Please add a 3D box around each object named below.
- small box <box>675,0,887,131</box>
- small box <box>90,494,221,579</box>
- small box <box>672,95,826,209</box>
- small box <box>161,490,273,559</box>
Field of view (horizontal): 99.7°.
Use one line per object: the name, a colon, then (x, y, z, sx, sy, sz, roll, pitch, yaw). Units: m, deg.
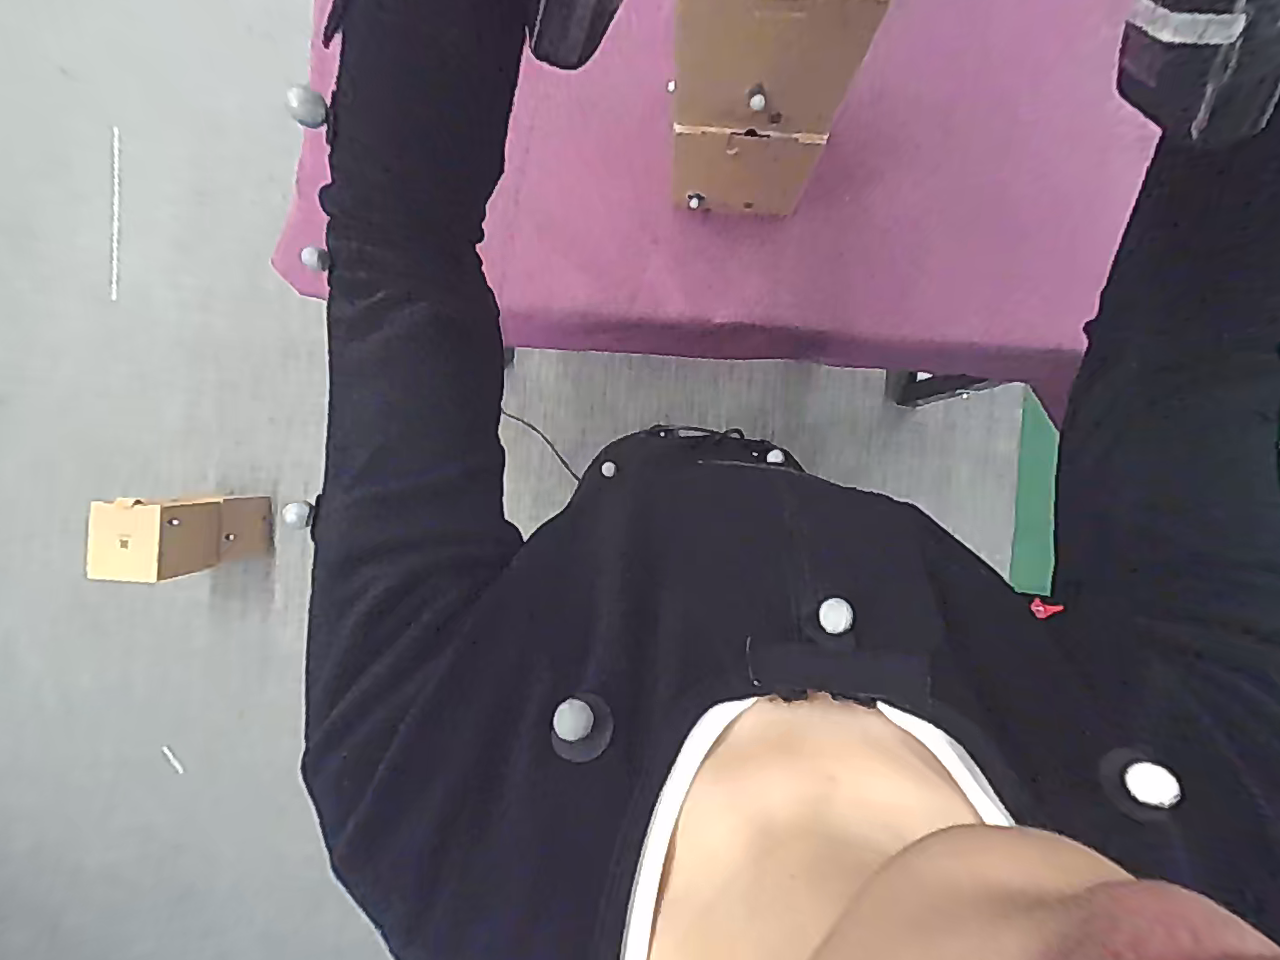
small box: (0.122, -0.462, 0.492, 0.168, 0.176, 0.179, 6, 91, 3)
small box: (-1.139, 0.128, 1.283, 0.168, 0.176, 0.179, 3, 91, 2)
small box: (0.130, -0.456, 0.656, 0.168, 0.176, 0.179, 6, 91, 2)
small box: (-1.129, 0.113, 1.446, 0.179, 0.176, 0.168, 3, 91, 3)
